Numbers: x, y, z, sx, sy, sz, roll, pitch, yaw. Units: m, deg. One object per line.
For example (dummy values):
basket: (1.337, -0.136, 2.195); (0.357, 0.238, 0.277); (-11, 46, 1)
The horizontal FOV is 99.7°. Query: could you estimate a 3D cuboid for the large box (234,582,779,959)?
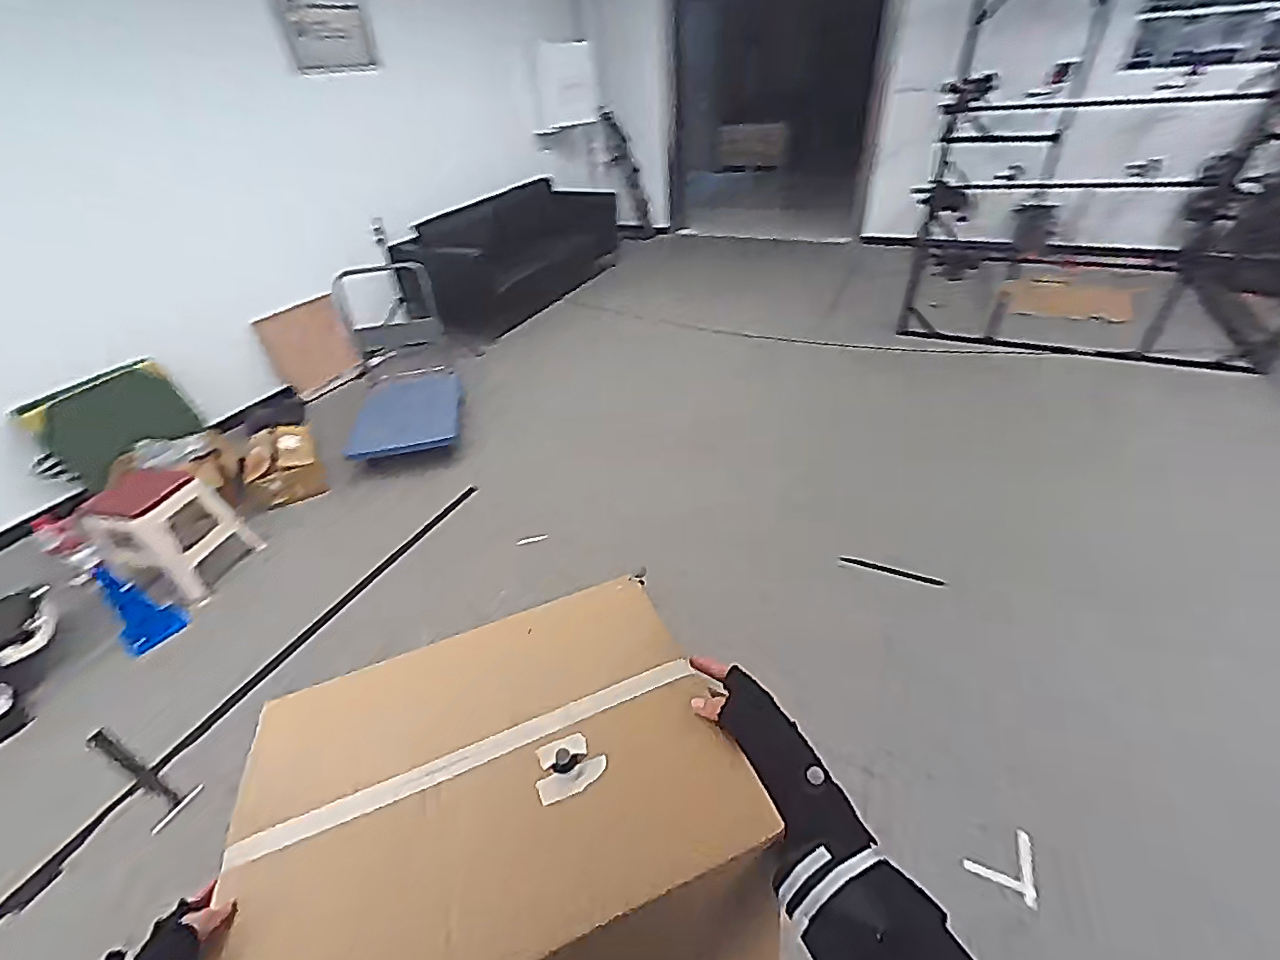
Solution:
large box: (-0.109, 0.374, 0.565); (0.408, 0.320, 0.320); (-16, 33, -14)
